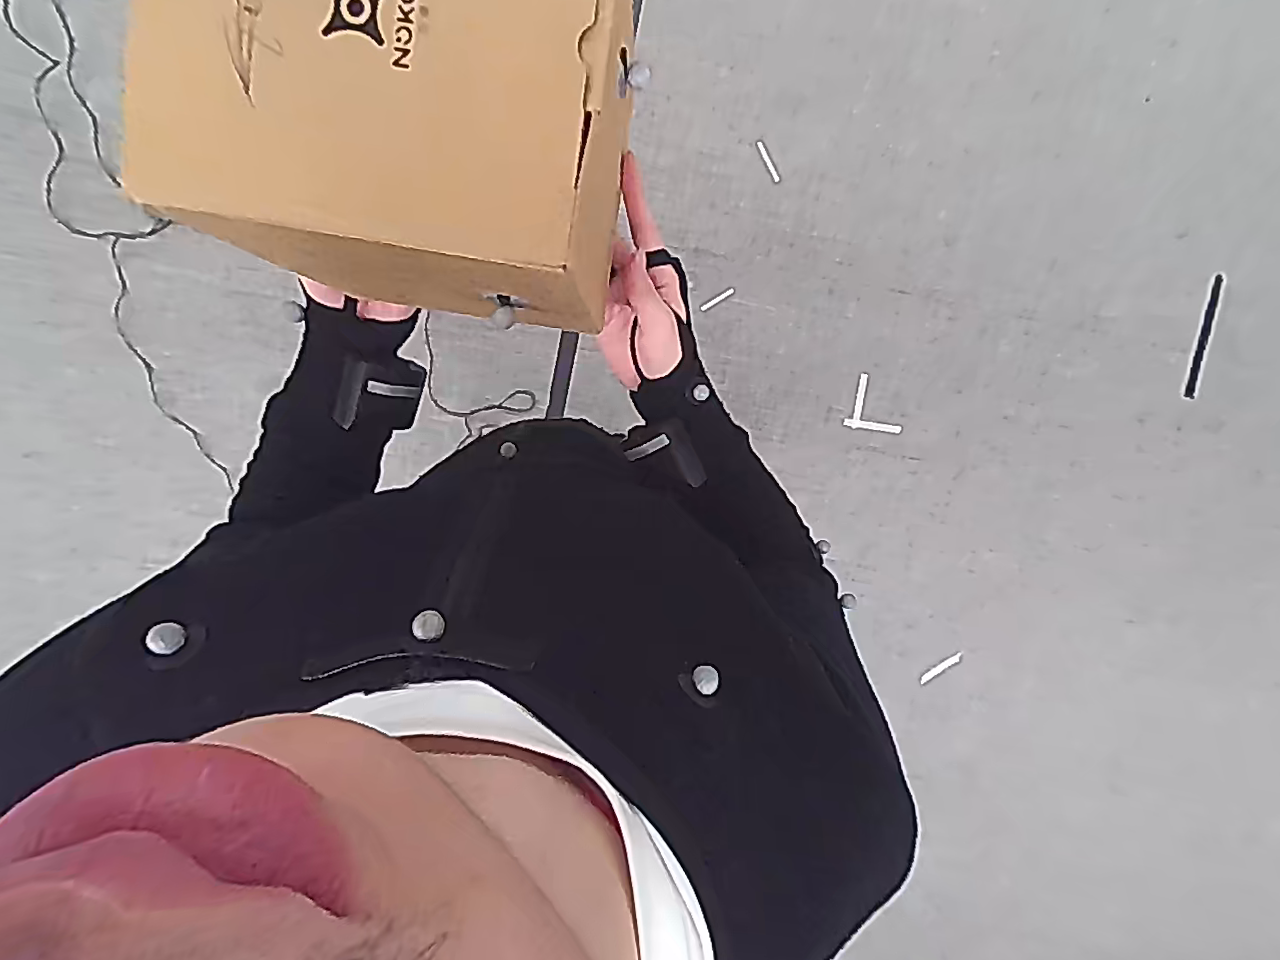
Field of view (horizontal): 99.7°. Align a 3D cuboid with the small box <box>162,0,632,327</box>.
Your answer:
[{"bbox_3d":[-0.099,-0.186,0.293,0.179,0.176,0.168,7,96,0],"label":"small box"}]
